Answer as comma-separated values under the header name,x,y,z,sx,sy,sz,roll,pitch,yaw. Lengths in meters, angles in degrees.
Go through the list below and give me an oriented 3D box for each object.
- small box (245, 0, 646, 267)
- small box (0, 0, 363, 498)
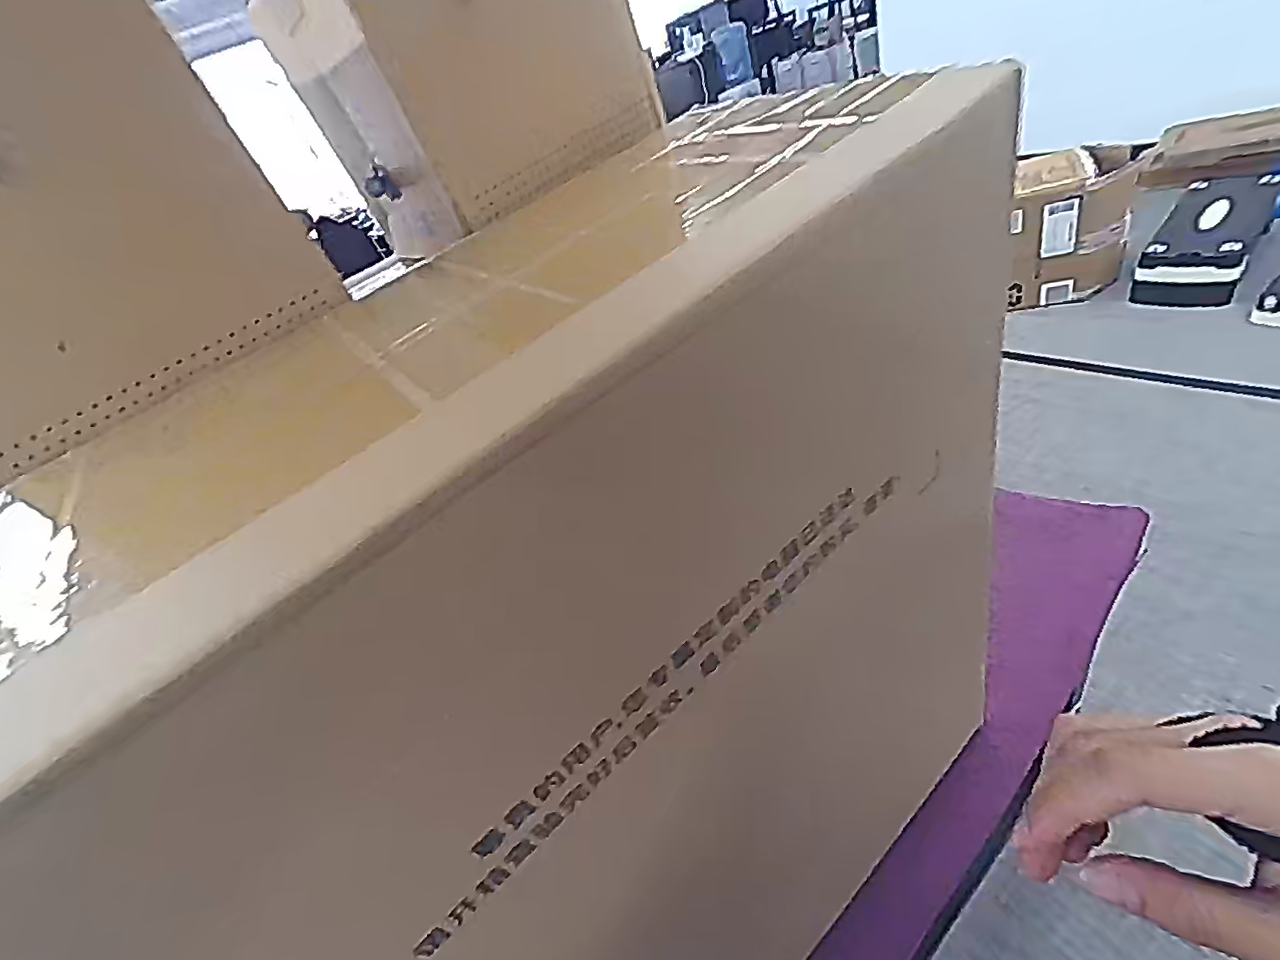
name,x,y,z,sx,sy,sz,roll,pitch,yaw
small box,-0.115,-0.269,0.370,0.179,0.176,0.168,-44,41,-21
small box,-0.288,-0.119,0.283,0.179,0.176,0.168,-38,40,-20
